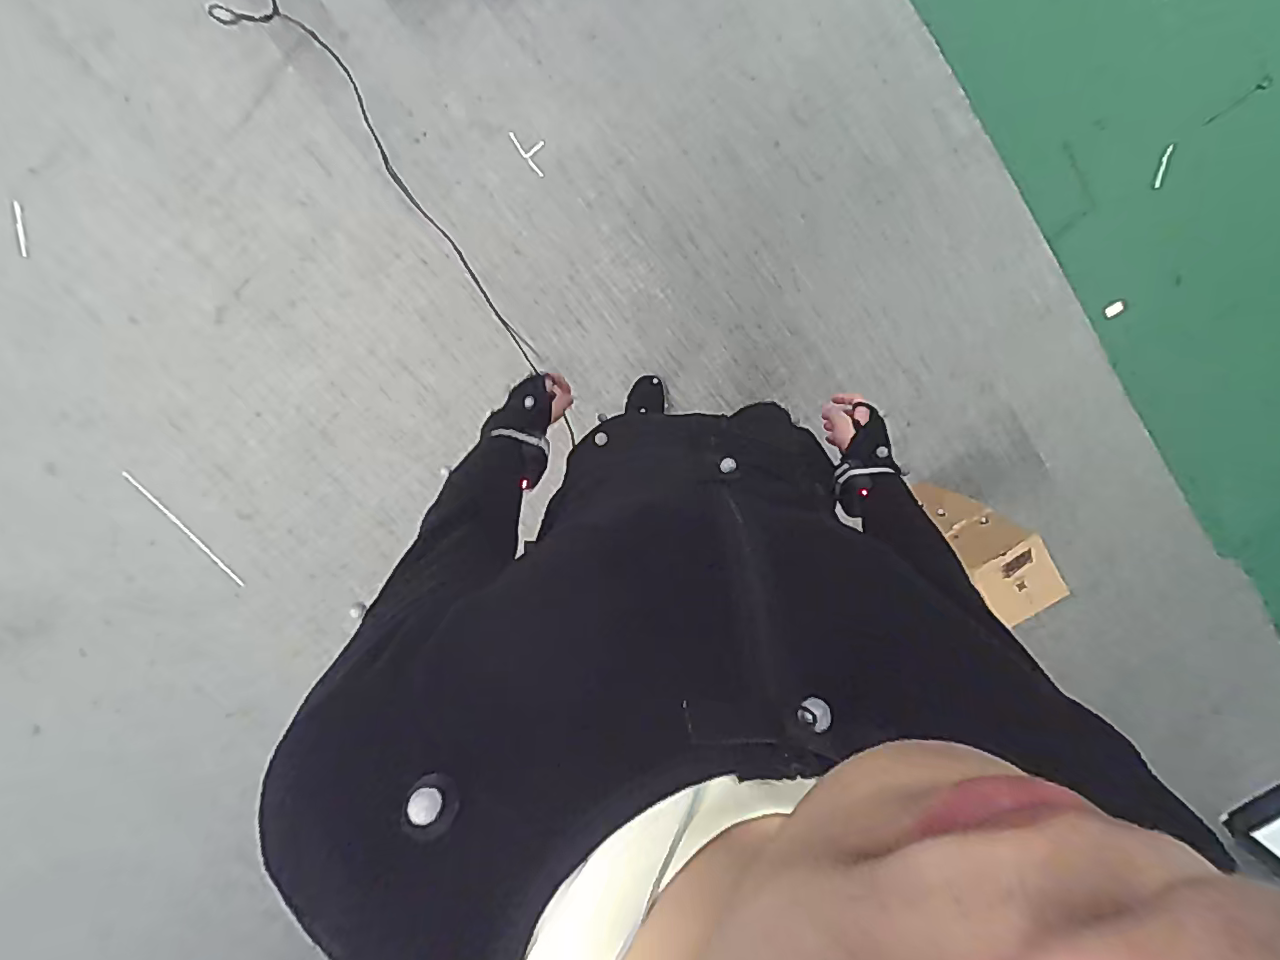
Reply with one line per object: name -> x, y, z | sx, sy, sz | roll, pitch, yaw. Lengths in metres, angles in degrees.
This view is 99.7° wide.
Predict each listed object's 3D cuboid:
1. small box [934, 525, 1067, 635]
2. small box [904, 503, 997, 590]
small box -> 0.838, 0.223, 1.275 | 0.168, 0.176, 0.179 | -33, 101, 7
small box -> 0.840, 0.176, 1.433 | 0.168, 0.176, 0.179 | -32, 99, 6
